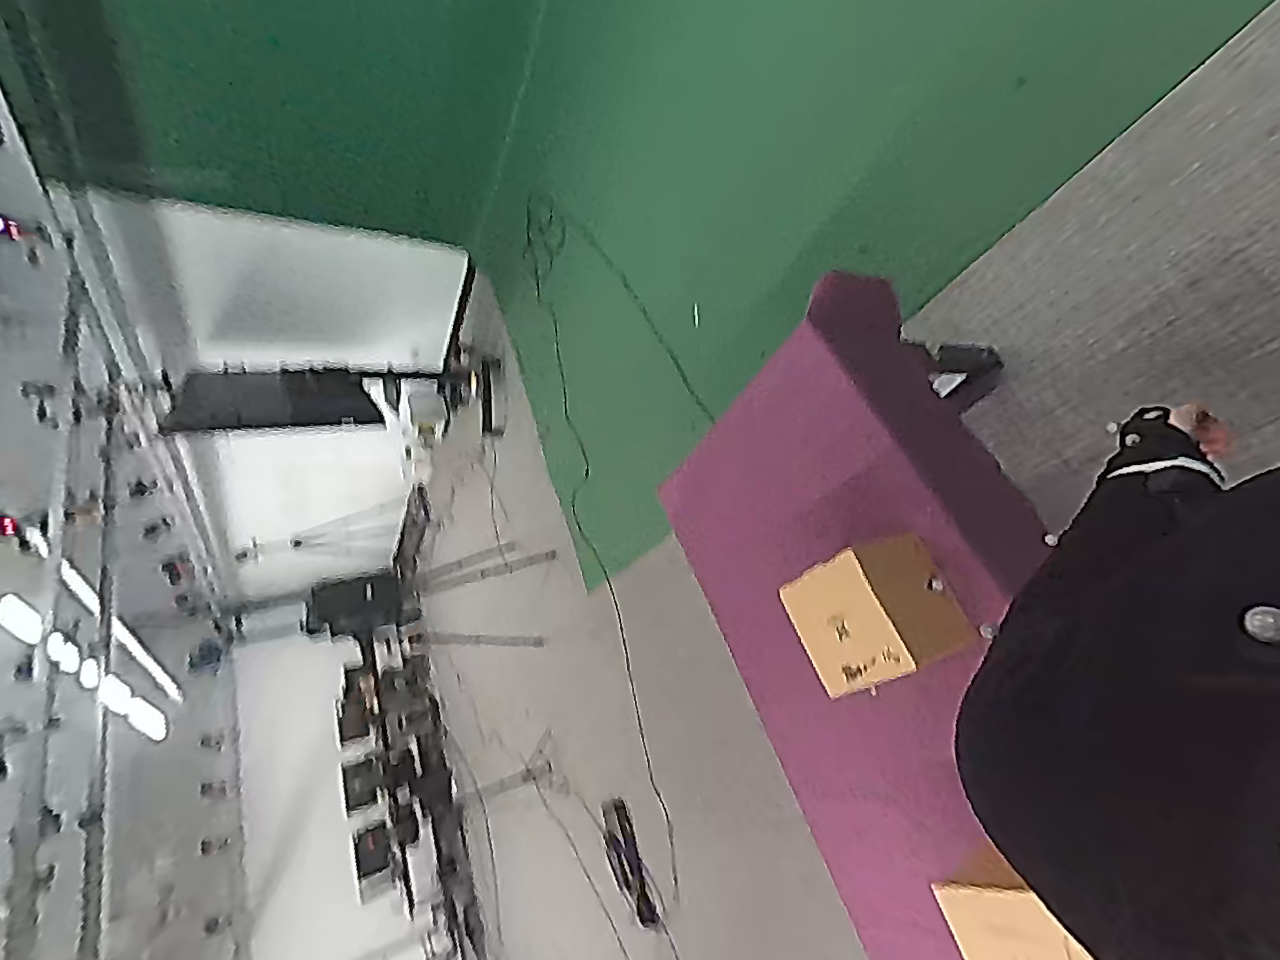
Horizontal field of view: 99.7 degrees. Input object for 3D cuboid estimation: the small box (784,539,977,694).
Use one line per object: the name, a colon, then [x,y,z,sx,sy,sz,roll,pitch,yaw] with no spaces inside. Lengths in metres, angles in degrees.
small box: [0.365,0.202,0.832,0.168,0.176,0.179,-50,54,47]

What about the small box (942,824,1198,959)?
small box: [0.522,0.550,0.655,0.168,0.176,0.179,-48,56,47]
